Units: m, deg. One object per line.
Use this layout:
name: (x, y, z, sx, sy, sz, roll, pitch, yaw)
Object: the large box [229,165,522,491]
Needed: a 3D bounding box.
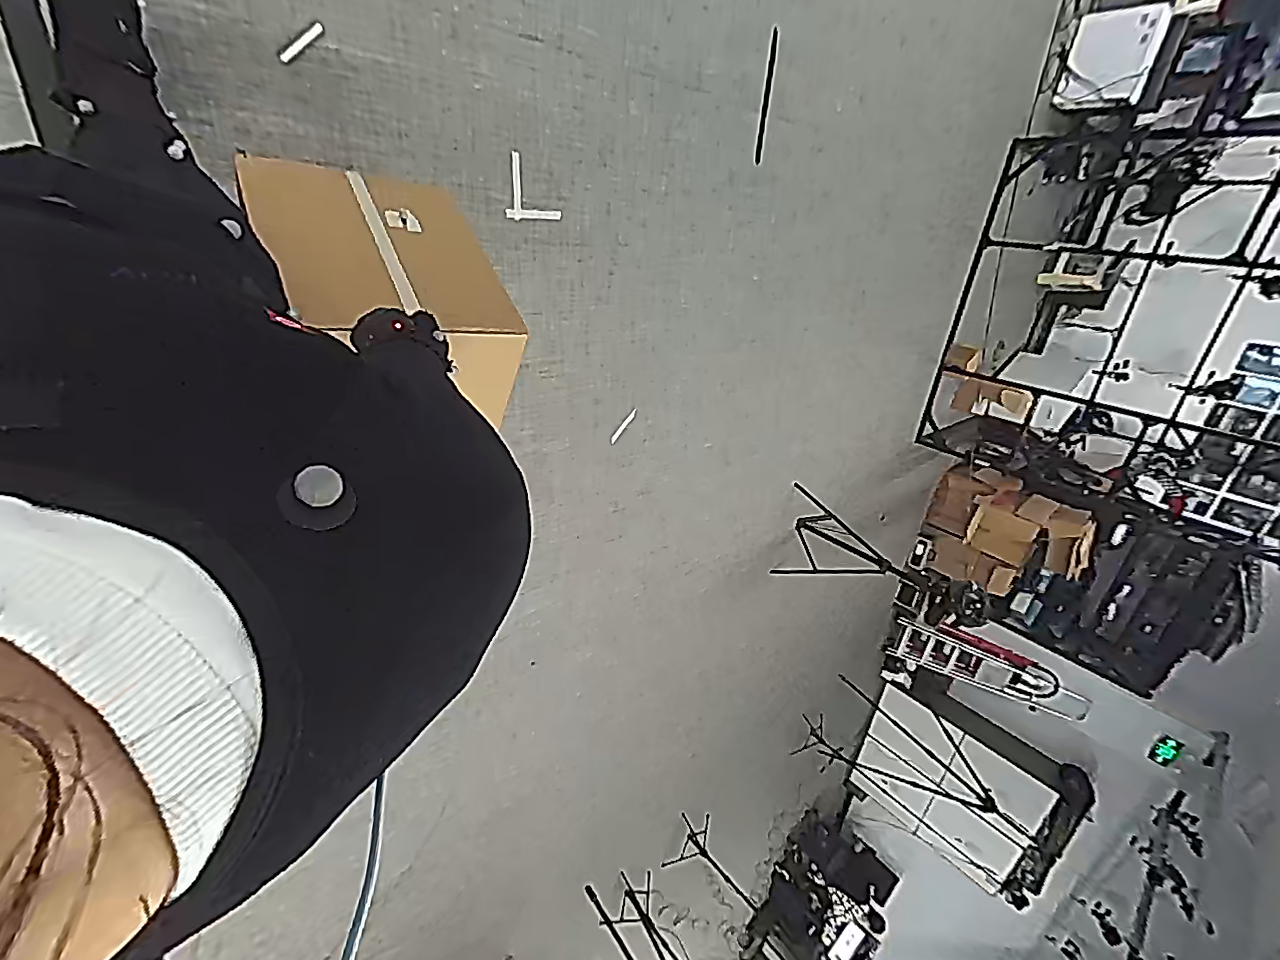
large box: (-0.444, -0.245, 0.898, 0.320, 0.408, 0.320, -10, 145, -38)
